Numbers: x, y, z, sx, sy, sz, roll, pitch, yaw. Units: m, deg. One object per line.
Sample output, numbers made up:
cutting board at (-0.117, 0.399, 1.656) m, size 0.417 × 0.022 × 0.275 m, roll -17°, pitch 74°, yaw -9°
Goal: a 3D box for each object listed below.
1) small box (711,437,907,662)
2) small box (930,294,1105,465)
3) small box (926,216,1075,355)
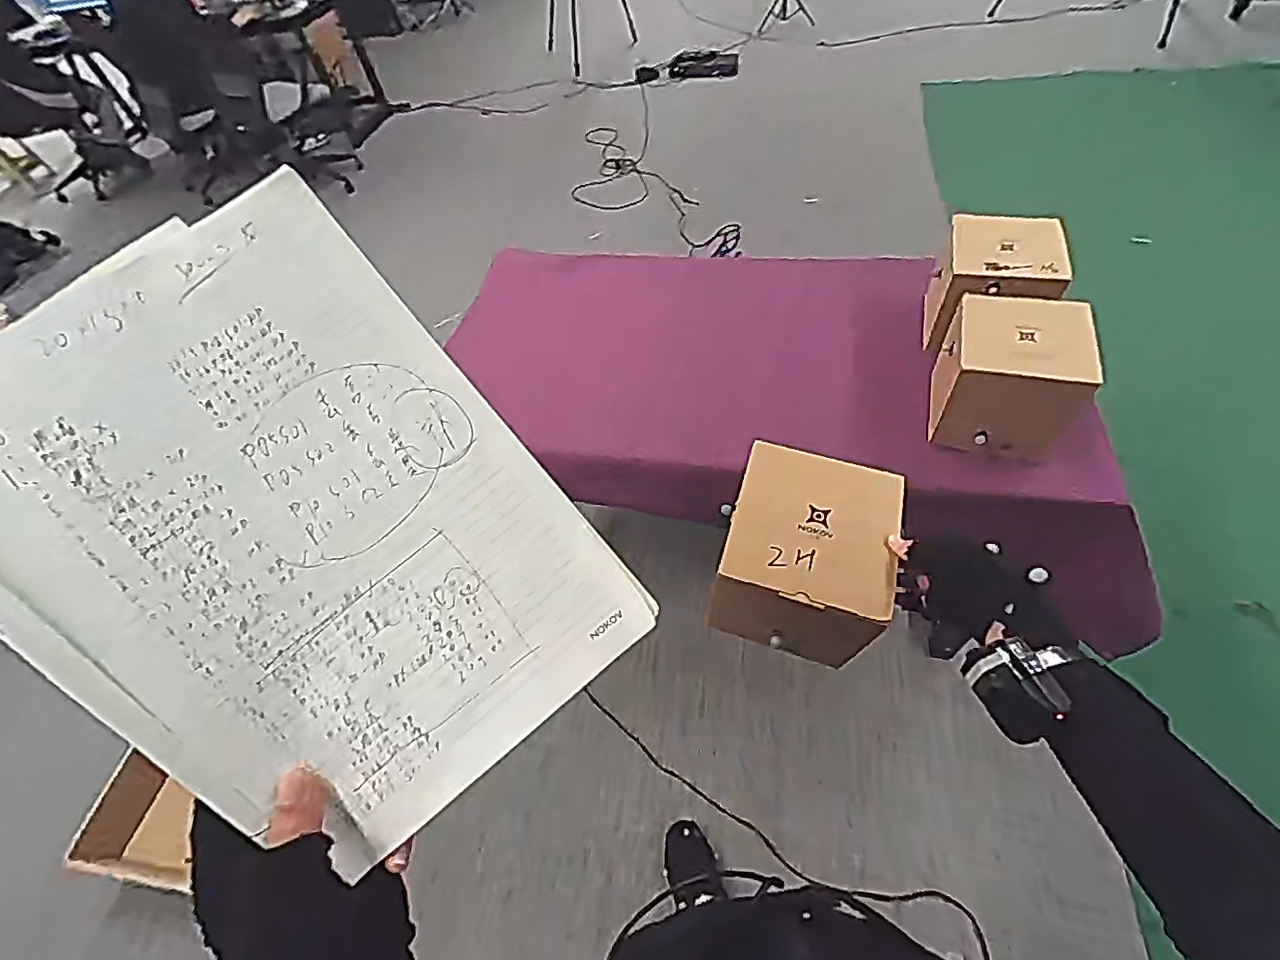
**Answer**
small box at (0.184, 0.084, 0.621) m, size 0.168 × 0.176 × 0.179 m, roll 16°, pitch 60°, yaw 11°
small box at (0.554, -0.151, 0.818) m, size 0.168 × 0.176 × 0.179 m, roll 12°, pitch 57°, yaw 18°
small box at (0.611, -0.330, 0.941) m, size 0.168 × 0.176 × 0.179 m, roll 10°, pitch 56°, yaw 16°
